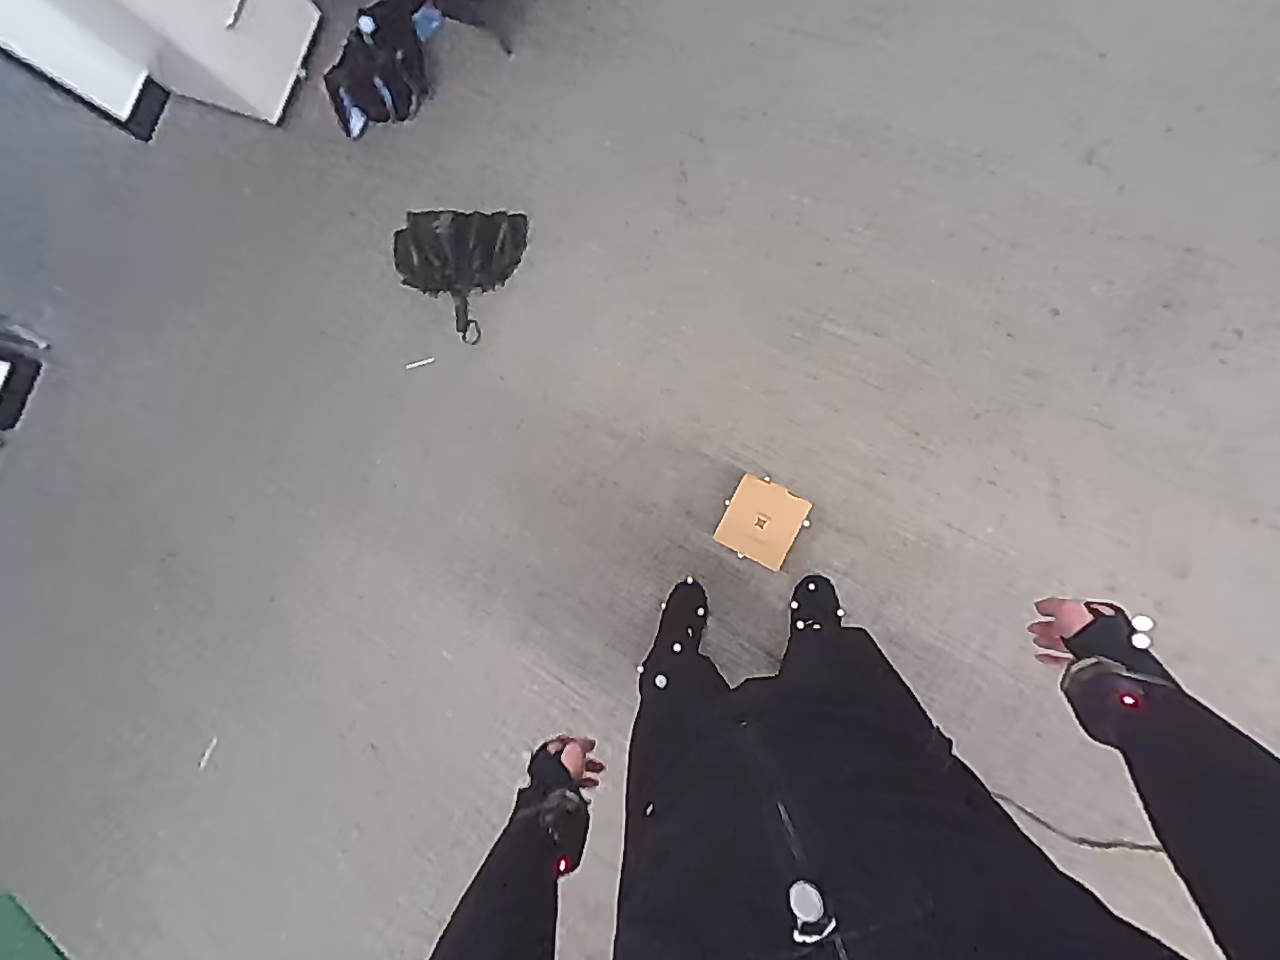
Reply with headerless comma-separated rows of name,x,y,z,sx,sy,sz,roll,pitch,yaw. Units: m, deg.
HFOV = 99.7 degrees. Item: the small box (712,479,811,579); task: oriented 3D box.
small box,0.292,0.116,1.302,0.168,0.176,0.179,28,93,16
